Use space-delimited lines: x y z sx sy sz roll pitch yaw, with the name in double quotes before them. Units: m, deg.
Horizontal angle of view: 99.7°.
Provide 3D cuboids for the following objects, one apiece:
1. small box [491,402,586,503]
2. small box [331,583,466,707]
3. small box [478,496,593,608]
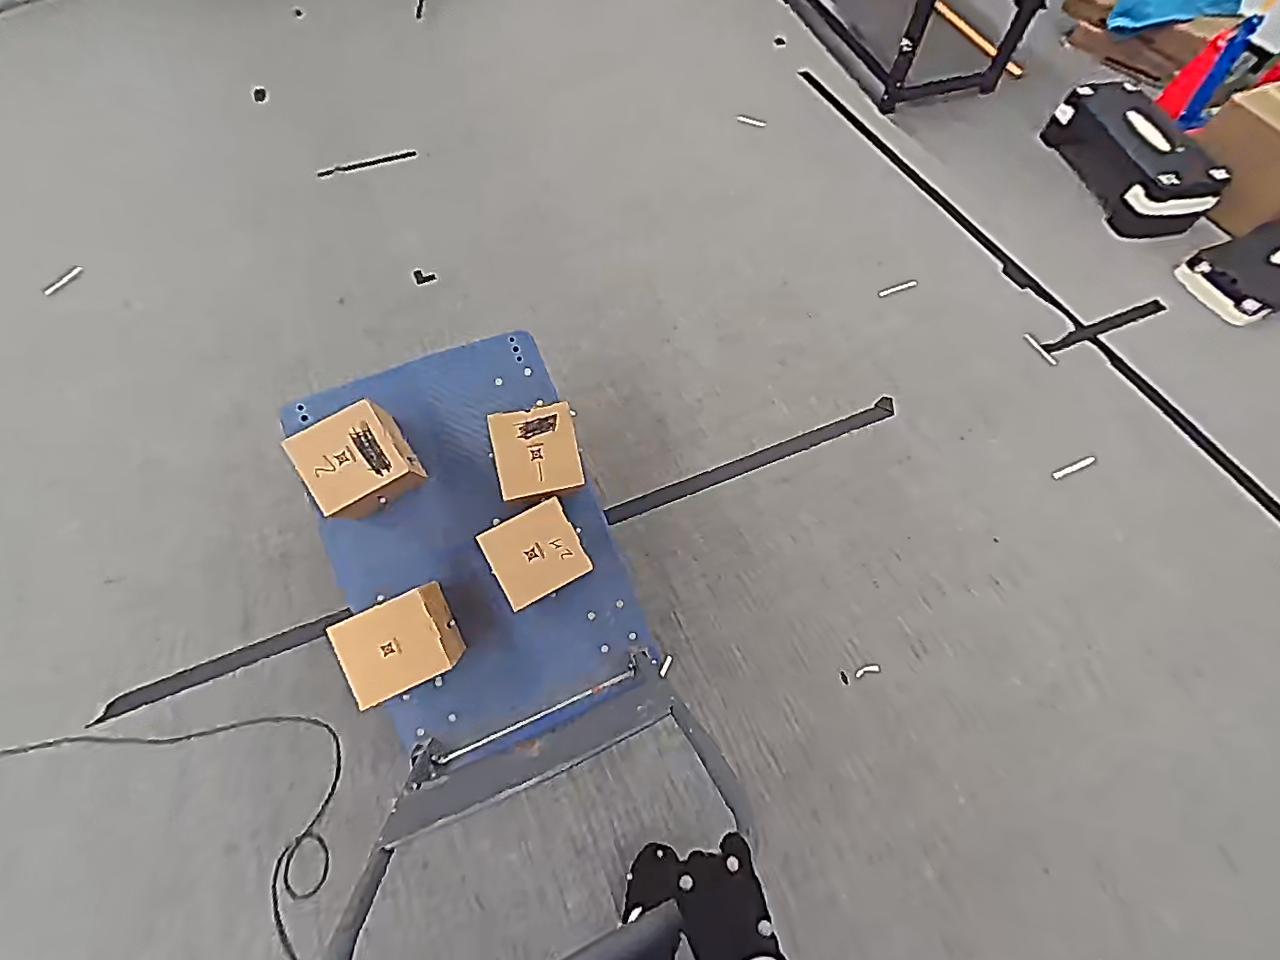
"small box" -0.216 -0.053 1.159 0.168 0.176 0.179 -12 87 -10
"small box" -0.470 0.318 1.080 0.179 0.176 0.168 -24 88 -12
"small box" -0.213 0.149 1.137 0.179 0.176 0.168 -28 89 -11
